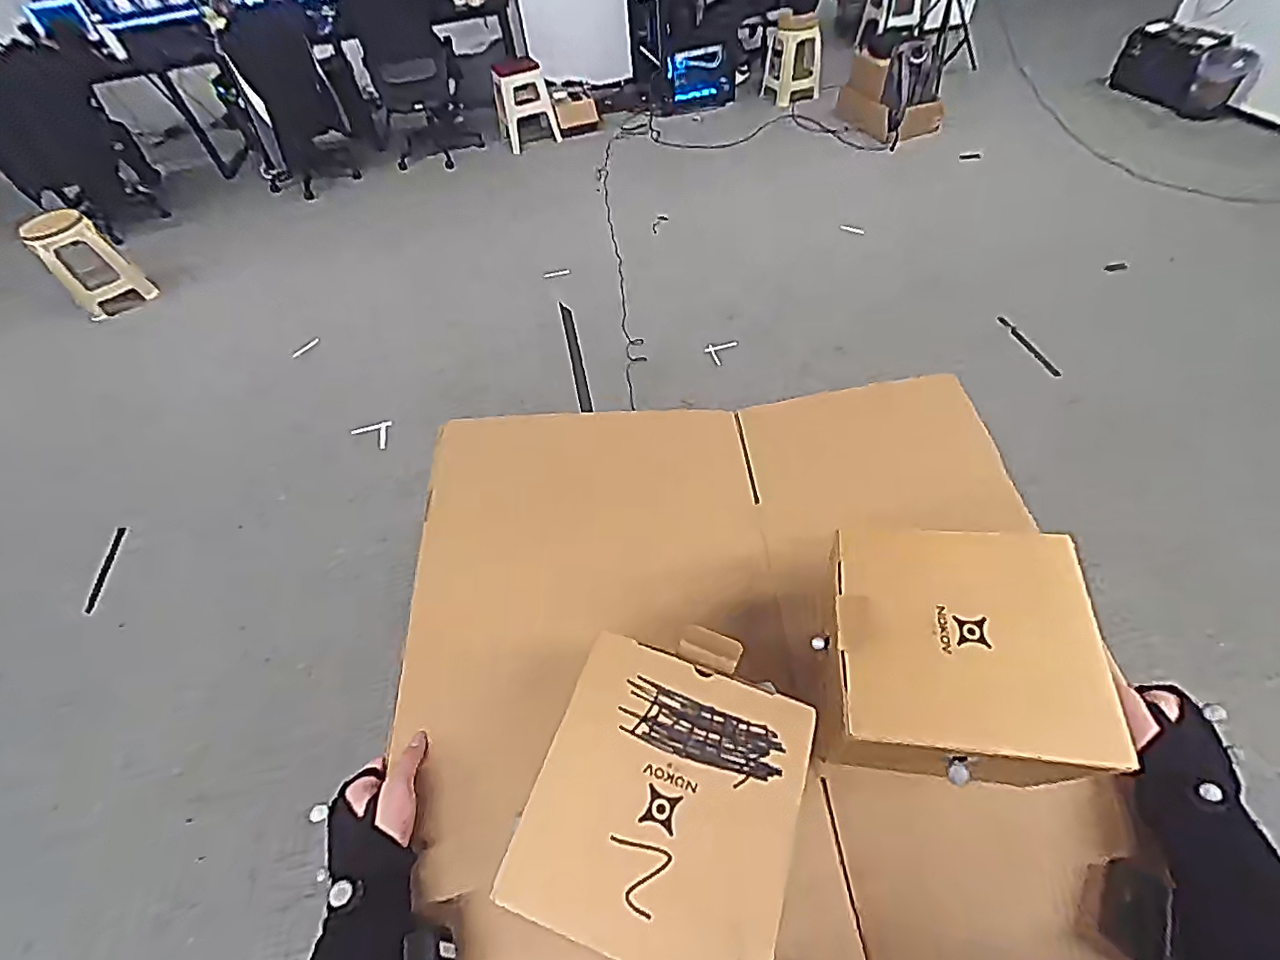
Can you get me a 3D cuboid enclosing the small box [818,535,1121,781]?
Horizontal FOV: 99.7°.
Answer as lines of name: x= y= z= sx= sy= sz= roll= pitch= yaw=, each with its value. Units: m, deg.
small box: x=0.258 y=0.161 z=0.478 sx=0.179 sy=0.176 sz=0.168 roll=0 pitch=58 yaw=14
